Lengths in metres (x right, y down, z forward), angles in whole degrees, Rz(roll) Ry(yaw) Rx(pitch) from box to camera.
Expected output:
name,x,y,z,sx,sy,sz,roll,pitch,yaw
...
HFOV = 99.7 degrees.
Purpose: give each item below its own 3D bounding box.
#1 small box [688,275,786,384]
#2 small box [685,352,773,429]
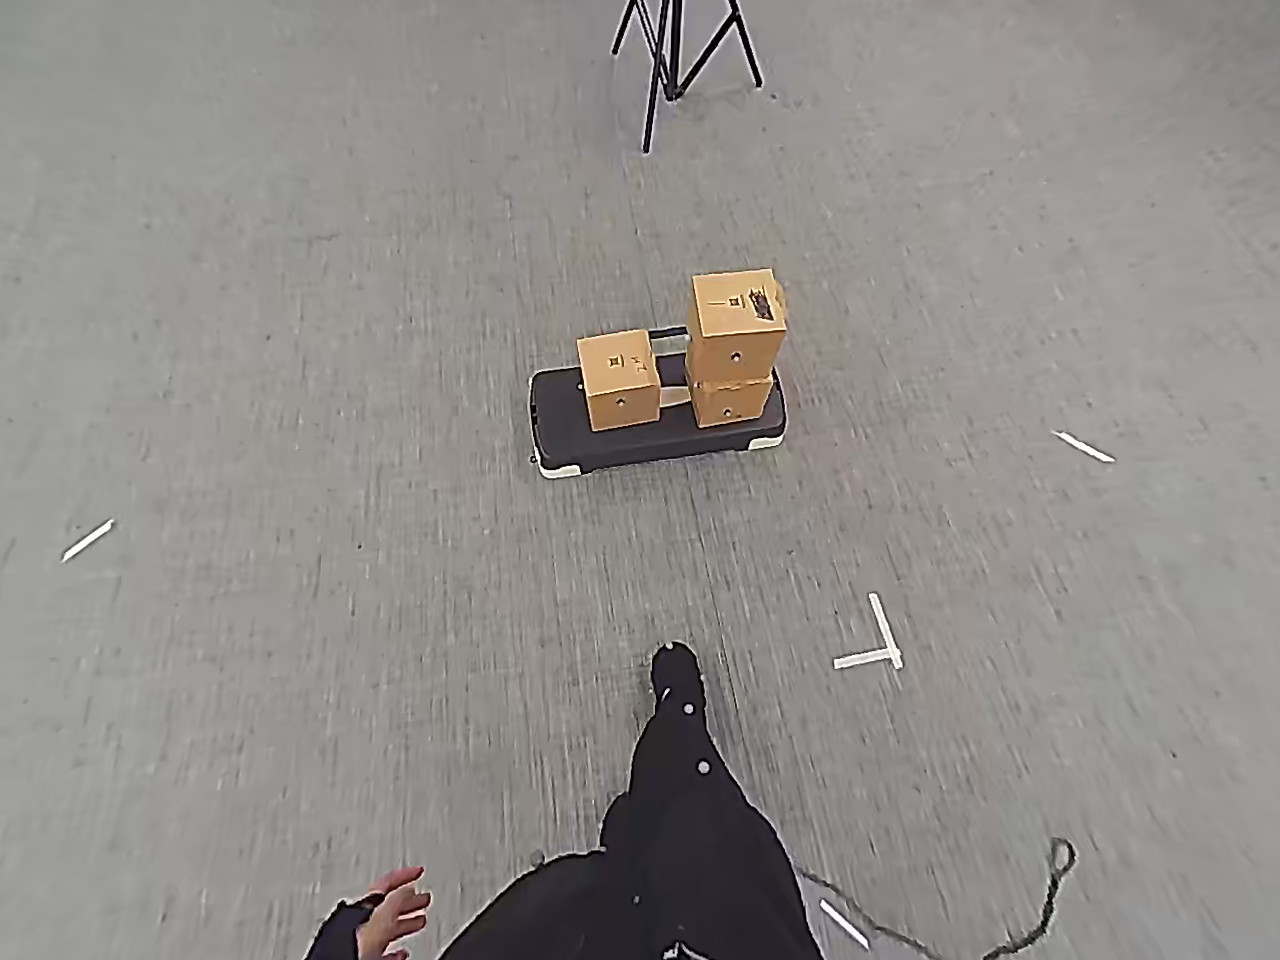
name,x,y,z,sx,sy,sz,roll,pitch,yaw
small box,0.207,-0.330,1.203,0.179,0.176,0.168,-5,67,-1
small box,0.213,-0.251,1.348,0.168,0.176,0.179,-10,67,-4
